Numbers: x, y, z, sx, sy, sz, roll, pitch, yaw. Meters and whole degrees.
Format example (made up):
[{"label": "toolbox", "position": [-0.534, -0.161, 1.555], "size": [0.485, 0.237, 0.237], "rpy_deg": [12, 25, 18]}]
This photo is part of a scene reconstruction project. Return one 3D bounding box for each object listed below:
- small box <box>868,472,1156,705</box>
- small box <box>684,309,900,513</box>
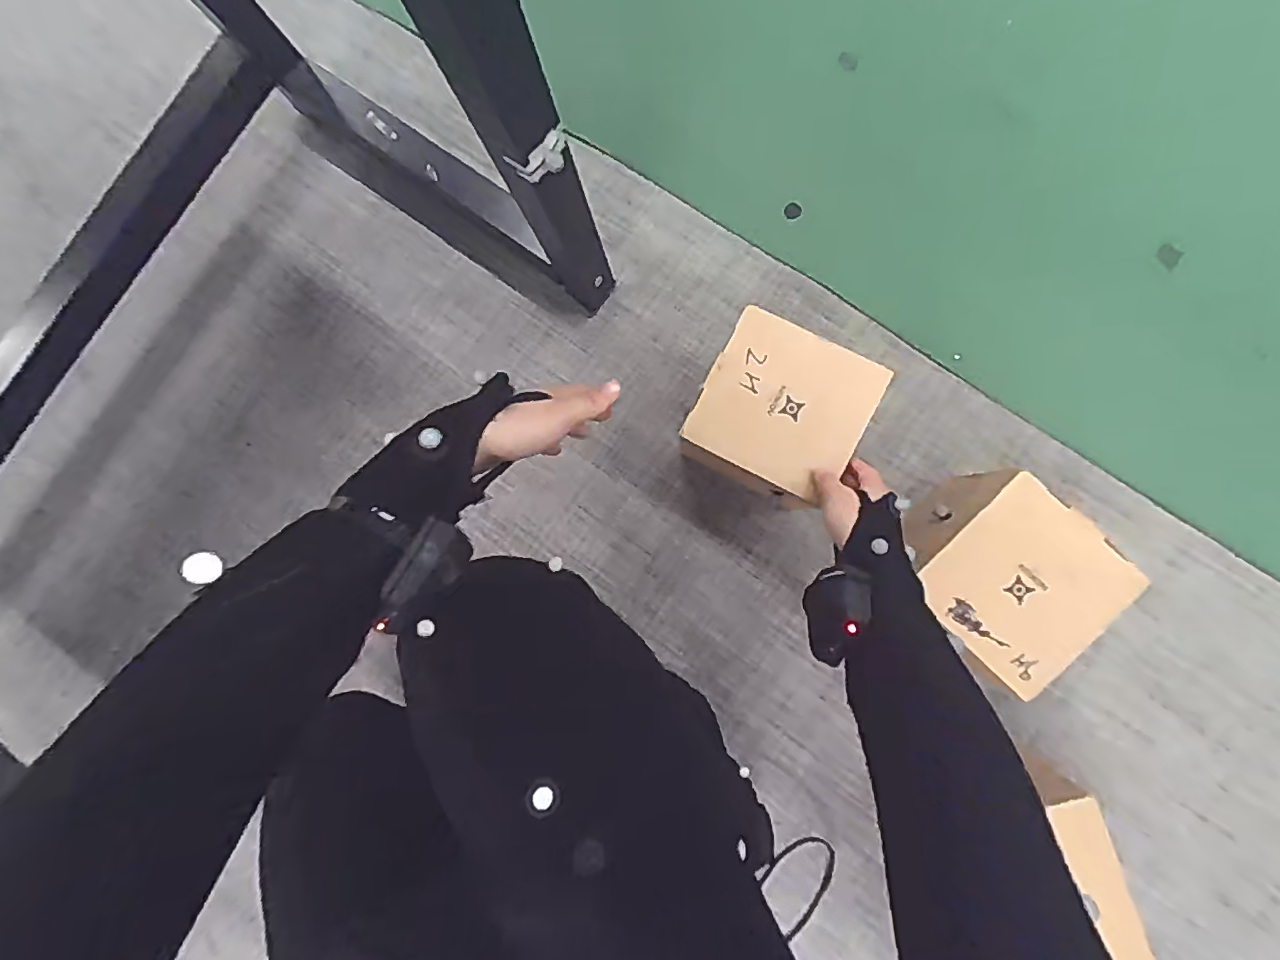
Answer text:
[{"label": "small box", "position": [0.399, 0.110, 0.619], "size": [0.179, 0.176, 0.168], "rpy_deg": [-45, 84, 2]}, {"label": "small box", "position": [0.168, -0.072, 0.653], "size": [0.179, 0.176, 0.168], "rpy_deg": [28, 89, 7]}]
